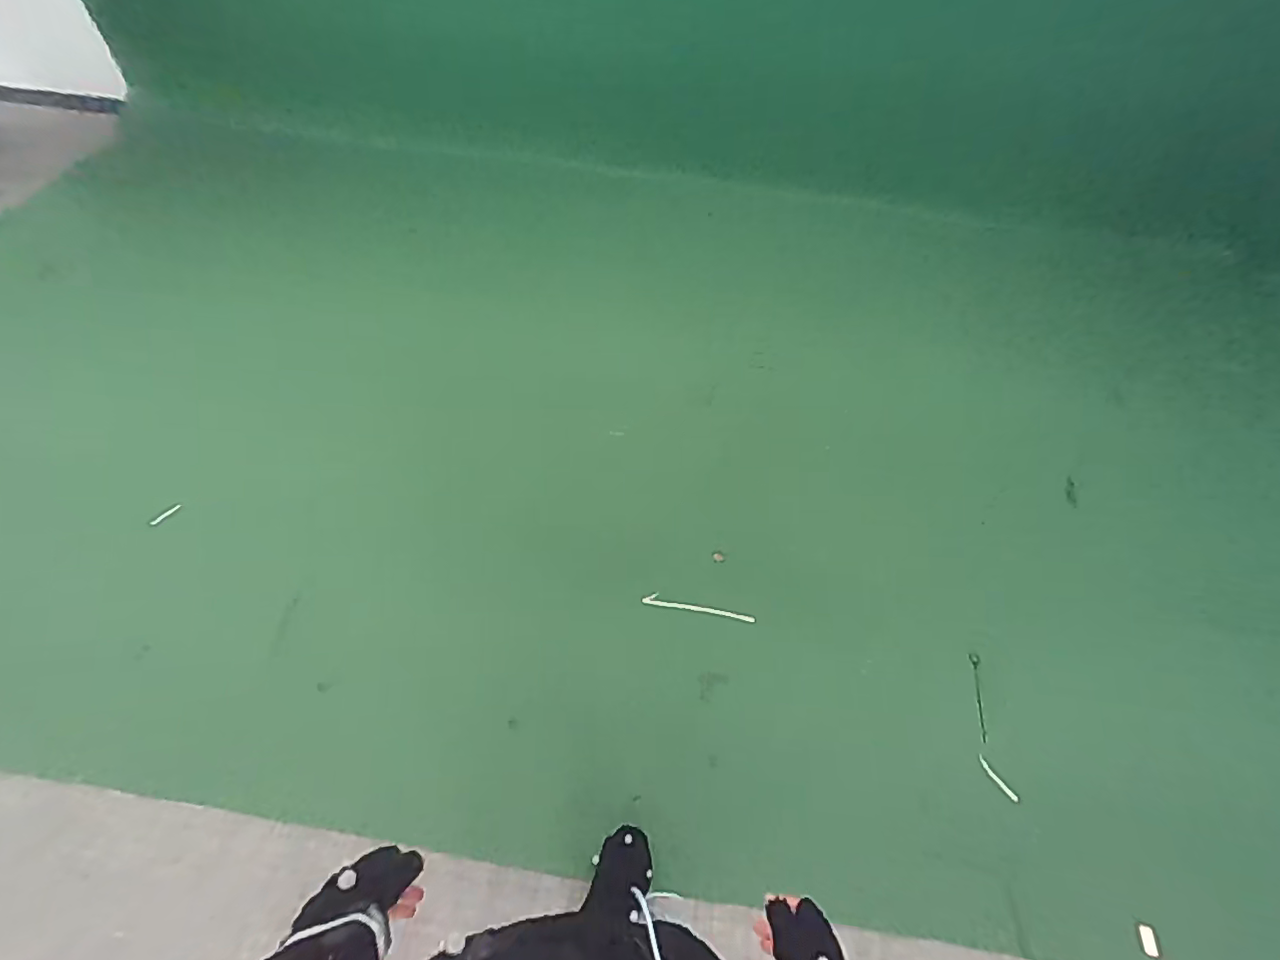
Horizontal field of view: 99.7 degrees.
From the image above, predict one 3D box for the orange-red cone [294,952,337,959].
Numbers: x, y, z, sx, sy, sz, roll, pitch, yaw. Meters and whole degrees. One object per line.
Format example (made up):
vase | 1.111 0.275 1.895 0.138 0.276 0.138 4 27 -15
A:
orange-red cone | -0.601 0.931 0.875 0.198 0.360 0.199 8 55 4
